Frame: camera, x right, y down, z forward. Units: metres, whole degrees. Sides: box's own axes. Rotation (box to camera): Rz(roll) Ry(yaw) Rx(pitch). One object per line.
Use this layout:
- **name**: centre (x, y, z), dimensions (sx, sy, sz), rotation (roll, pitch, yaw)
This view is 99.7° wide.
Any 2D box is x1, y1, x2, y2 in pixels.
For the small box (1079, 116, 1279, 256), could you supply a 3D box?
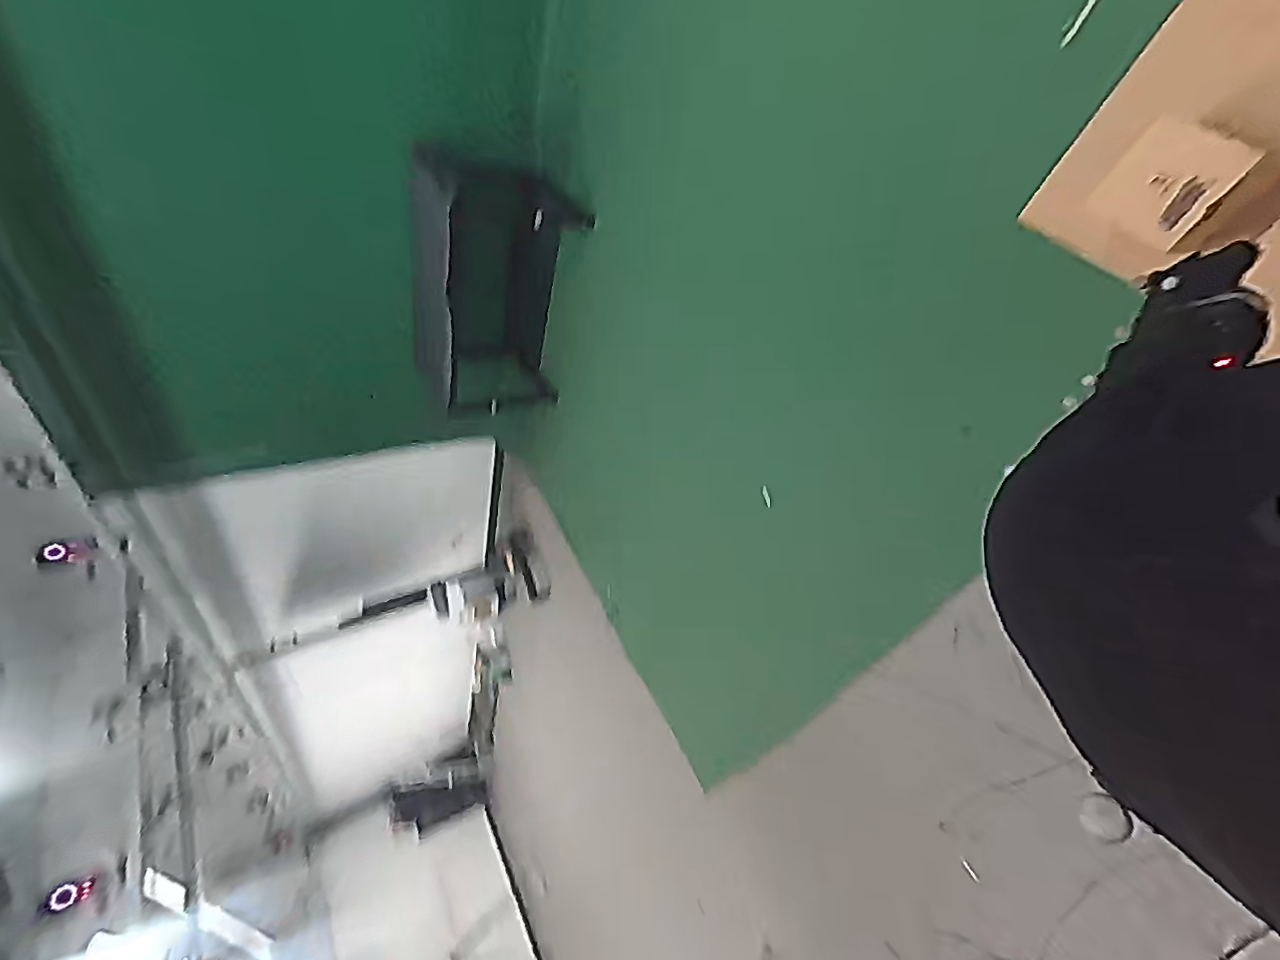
- **small box**: centre (0.969, -0.526, 0.976), dimensions (0.179, 0.176, 0.168), rotation (57, 144, 30)
